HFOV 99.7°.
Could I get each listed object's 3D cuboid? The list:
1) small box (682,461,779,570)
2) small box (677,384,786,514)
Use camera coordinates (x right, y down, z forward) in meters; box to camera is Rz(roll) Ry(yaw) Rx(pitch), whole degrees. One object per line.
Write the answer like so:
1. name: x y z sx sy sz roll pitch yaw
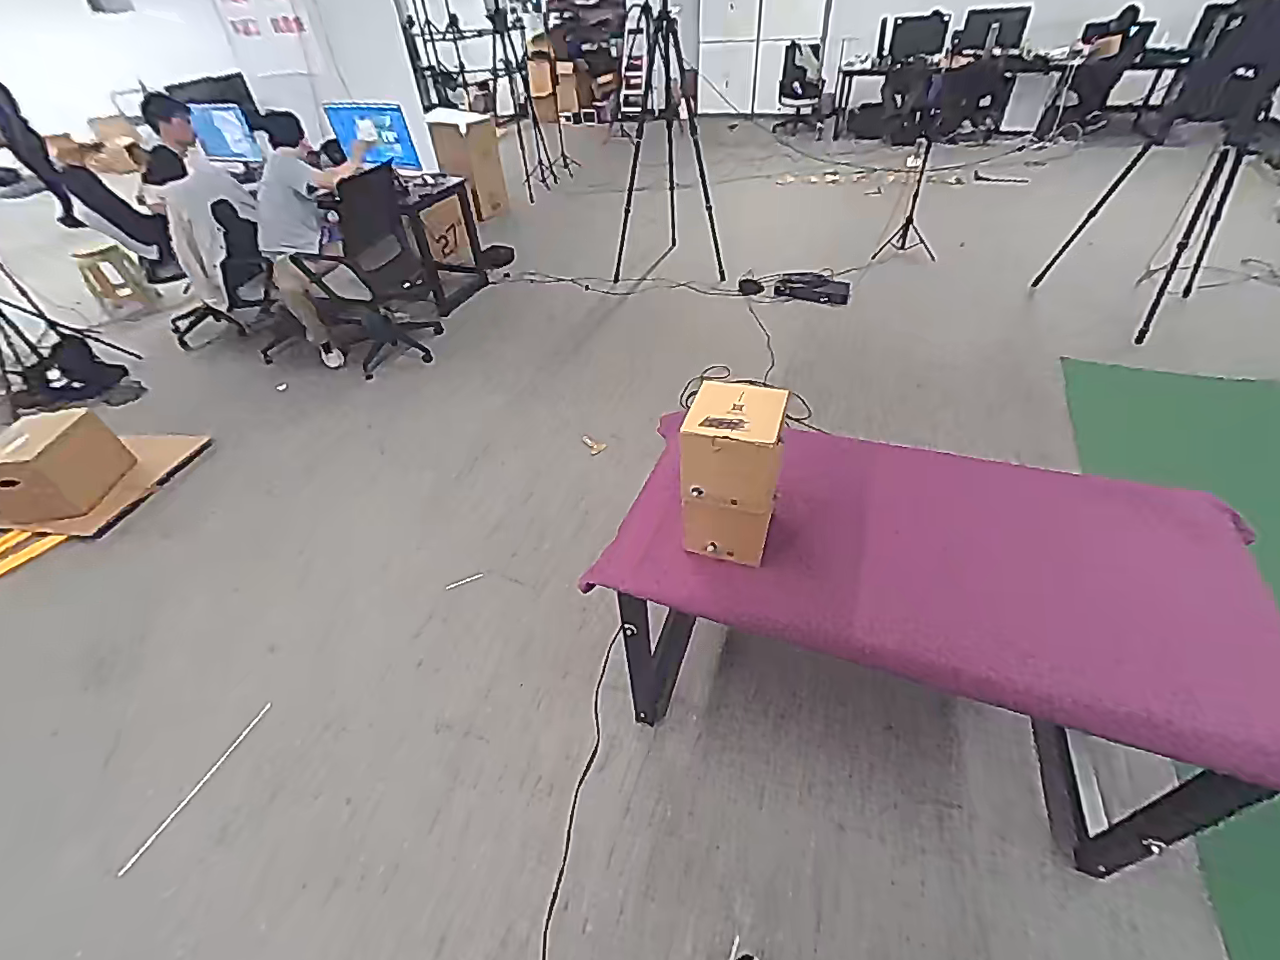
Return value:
1. small box: 0.188 0.058 1.137 0.168 0.176 0.179 10 45 17
2. small box: 0.175 -0.058 1.022 0.168 0.176 0.179 10 43 17
